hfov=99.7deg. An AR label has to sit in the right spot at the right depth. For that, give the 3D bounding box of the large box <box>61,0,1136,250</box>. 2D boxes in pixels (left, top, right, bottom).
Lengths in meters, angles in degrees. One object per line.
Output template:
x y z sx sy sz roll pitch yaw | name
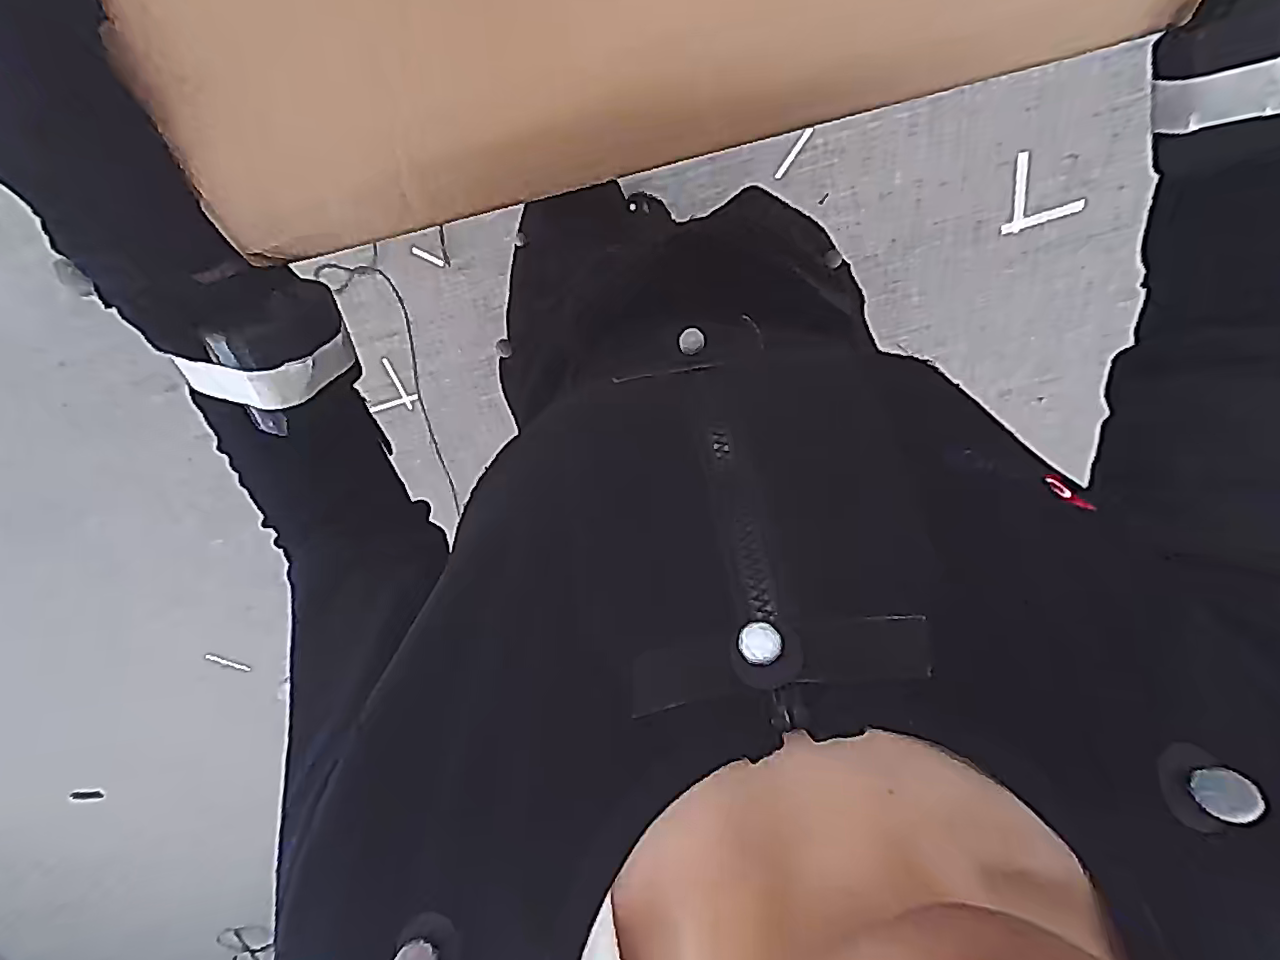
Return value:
-0.030 -0.357 0.215 0.408 0.320 0.320 -13 140 4 | large box
